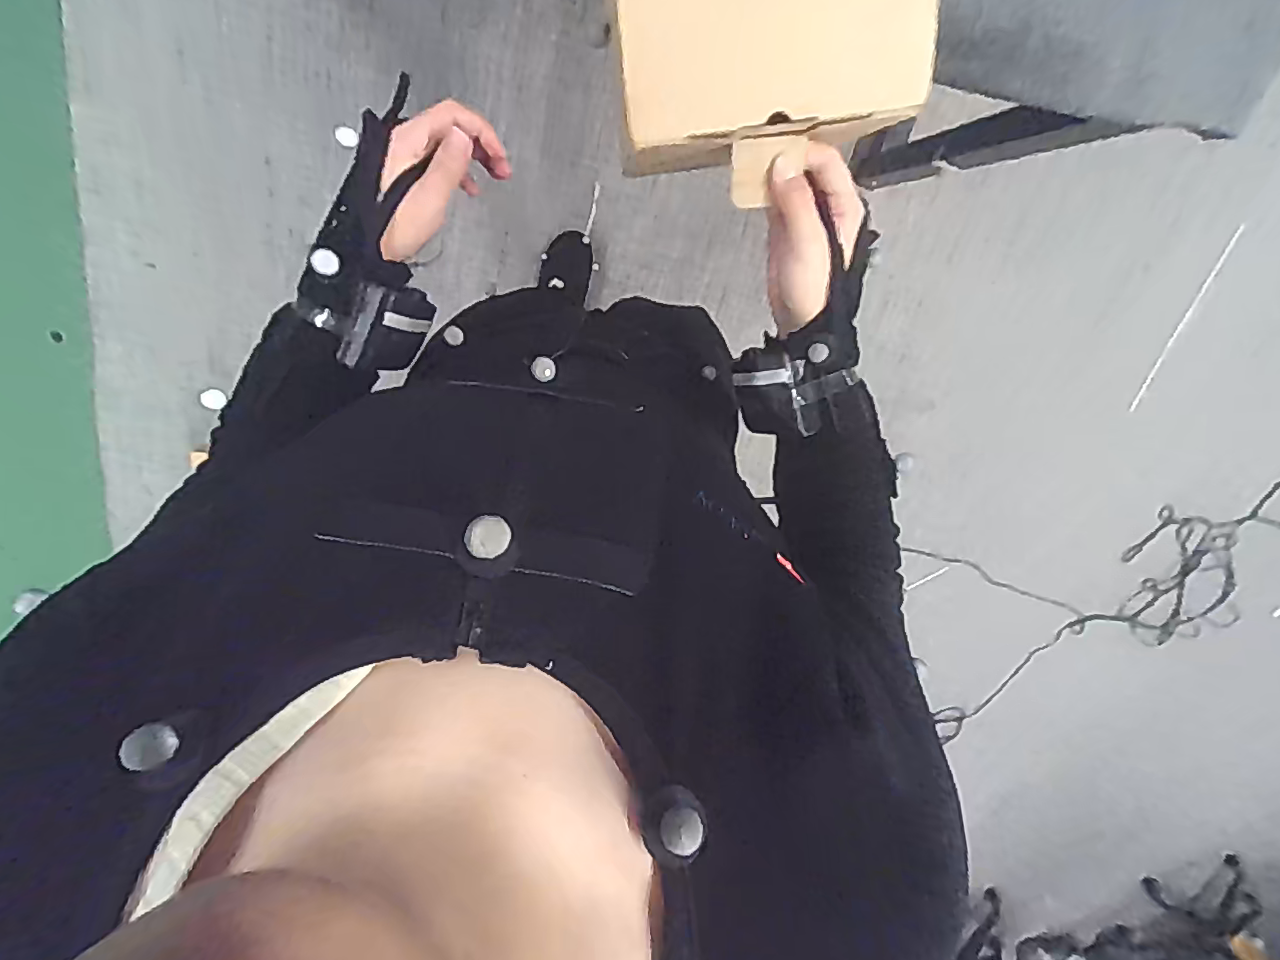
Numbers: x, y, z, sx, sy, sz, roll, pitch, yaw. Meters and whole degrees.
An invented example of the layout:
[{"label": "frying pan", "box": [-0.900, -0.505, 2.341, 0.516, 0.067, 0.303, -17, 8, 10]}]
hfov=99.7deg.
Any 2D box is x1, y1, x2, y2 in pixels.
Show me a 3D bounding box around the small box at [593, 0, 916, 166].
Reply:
[{"label": "small box", "box": [0.055, -0.308, 0.339, 0.168, 0.176, 0.179, -9, 115, 0]}]
